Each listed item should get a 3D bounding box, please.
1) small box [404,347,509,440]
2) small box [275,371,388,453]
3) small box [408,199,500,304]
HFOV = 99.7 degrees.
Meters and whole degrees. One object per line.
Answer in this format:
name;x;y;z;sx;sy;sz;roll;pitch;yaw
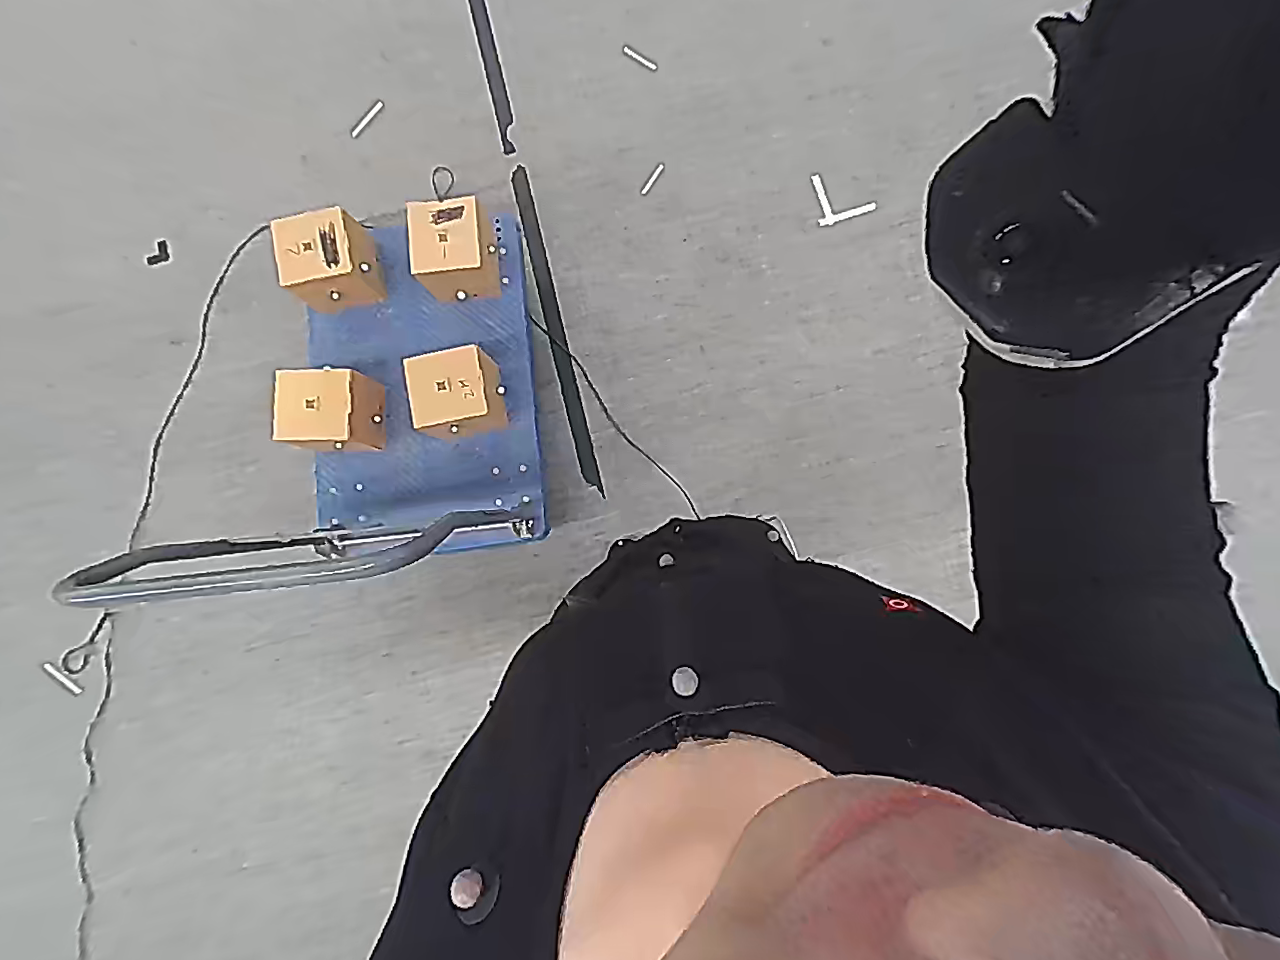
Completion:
small box;-0.434;-0.200;1.300;0.179;0.176;0.168;-12;85;1
small box;-0.739;-0.158;1.307;0.179;0.176;0.168;-1;84;0
small box;-0.451;-0.557;1.332;0.168;0.176;0.179;-6;86;1
